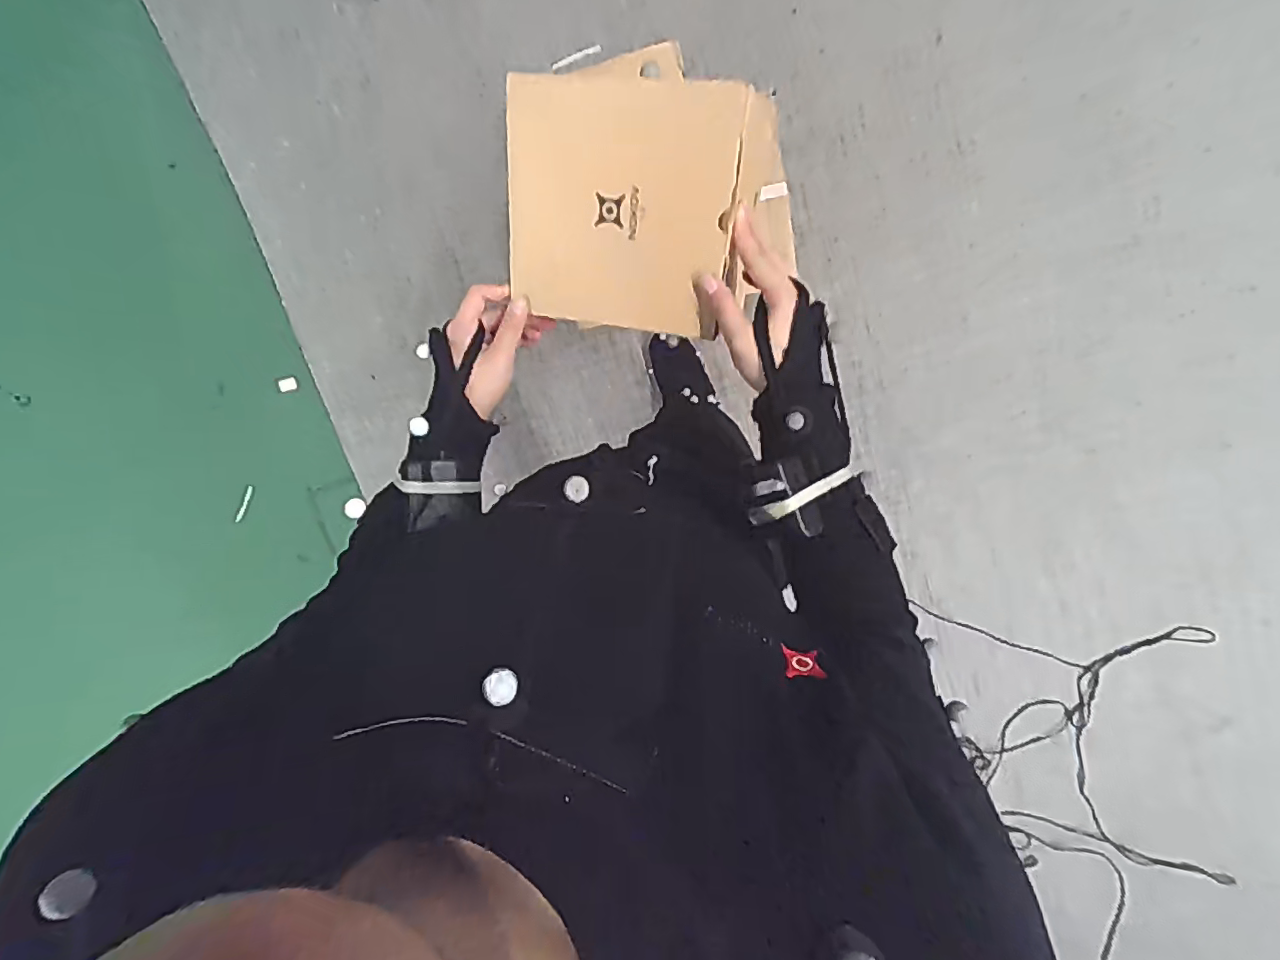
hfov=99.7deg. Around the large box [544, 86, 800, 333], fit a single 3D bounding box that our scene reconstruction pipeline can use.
[{"bbox_3d":[0.068,-0.494,1.080,0.408,0.320,0.320,-10,103,7],"label":"large box"}]
